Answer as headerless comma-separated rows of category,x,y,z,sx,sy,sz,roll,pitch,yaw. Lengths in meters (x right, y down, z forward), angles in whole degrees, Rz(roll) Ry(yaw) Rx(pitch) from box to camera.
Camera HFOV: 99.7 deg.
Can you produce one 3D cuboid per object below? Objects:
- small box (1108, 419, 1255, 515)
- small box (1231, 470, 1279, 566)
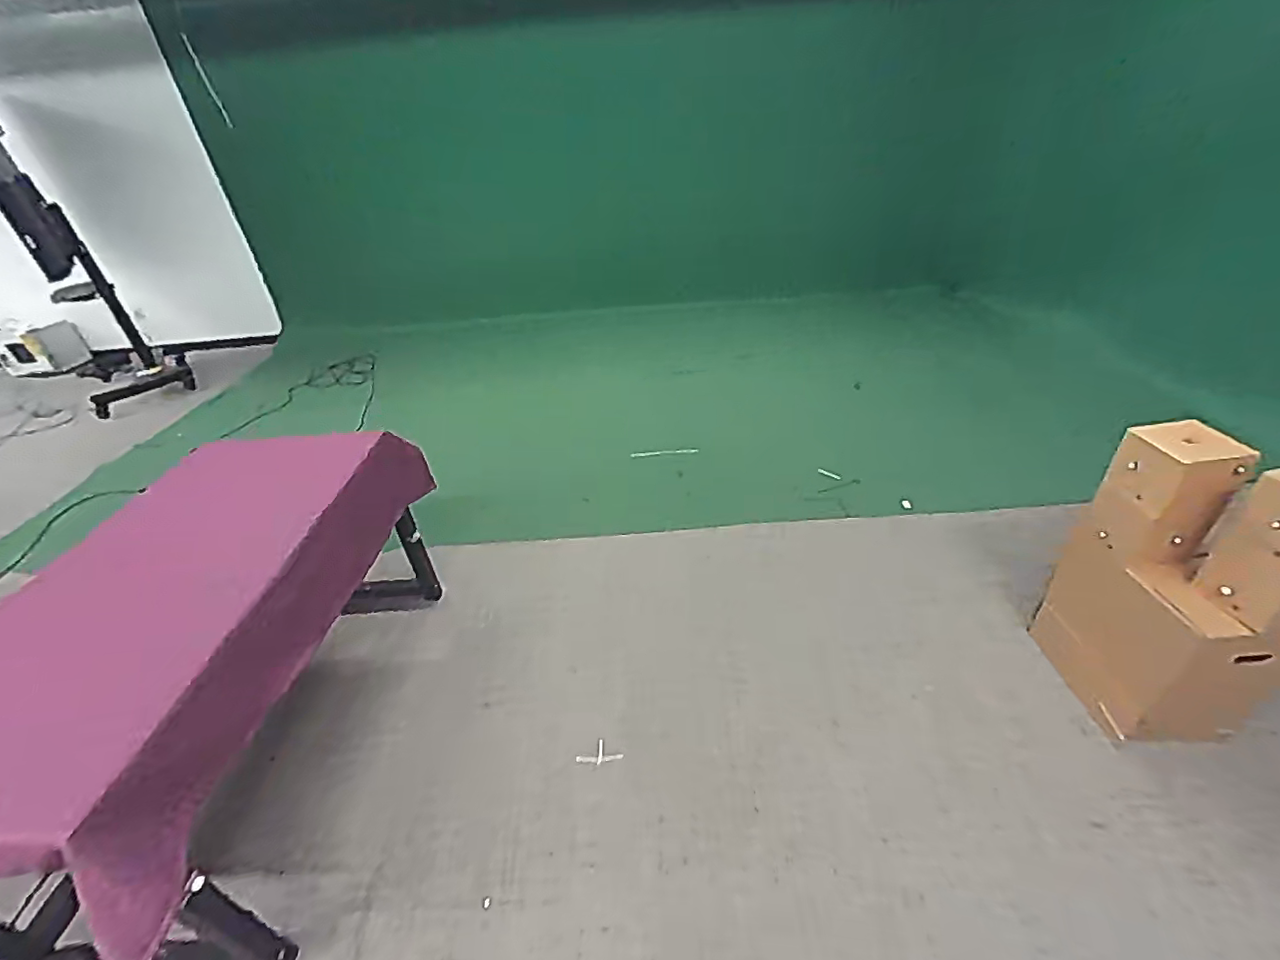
small box,1.308,-0.028,1.330,0.179,0.176,0.168,-8,36,-1
small box,1.435,0.086,1.148,0.179,0.176,0.168,-7,34,-4
